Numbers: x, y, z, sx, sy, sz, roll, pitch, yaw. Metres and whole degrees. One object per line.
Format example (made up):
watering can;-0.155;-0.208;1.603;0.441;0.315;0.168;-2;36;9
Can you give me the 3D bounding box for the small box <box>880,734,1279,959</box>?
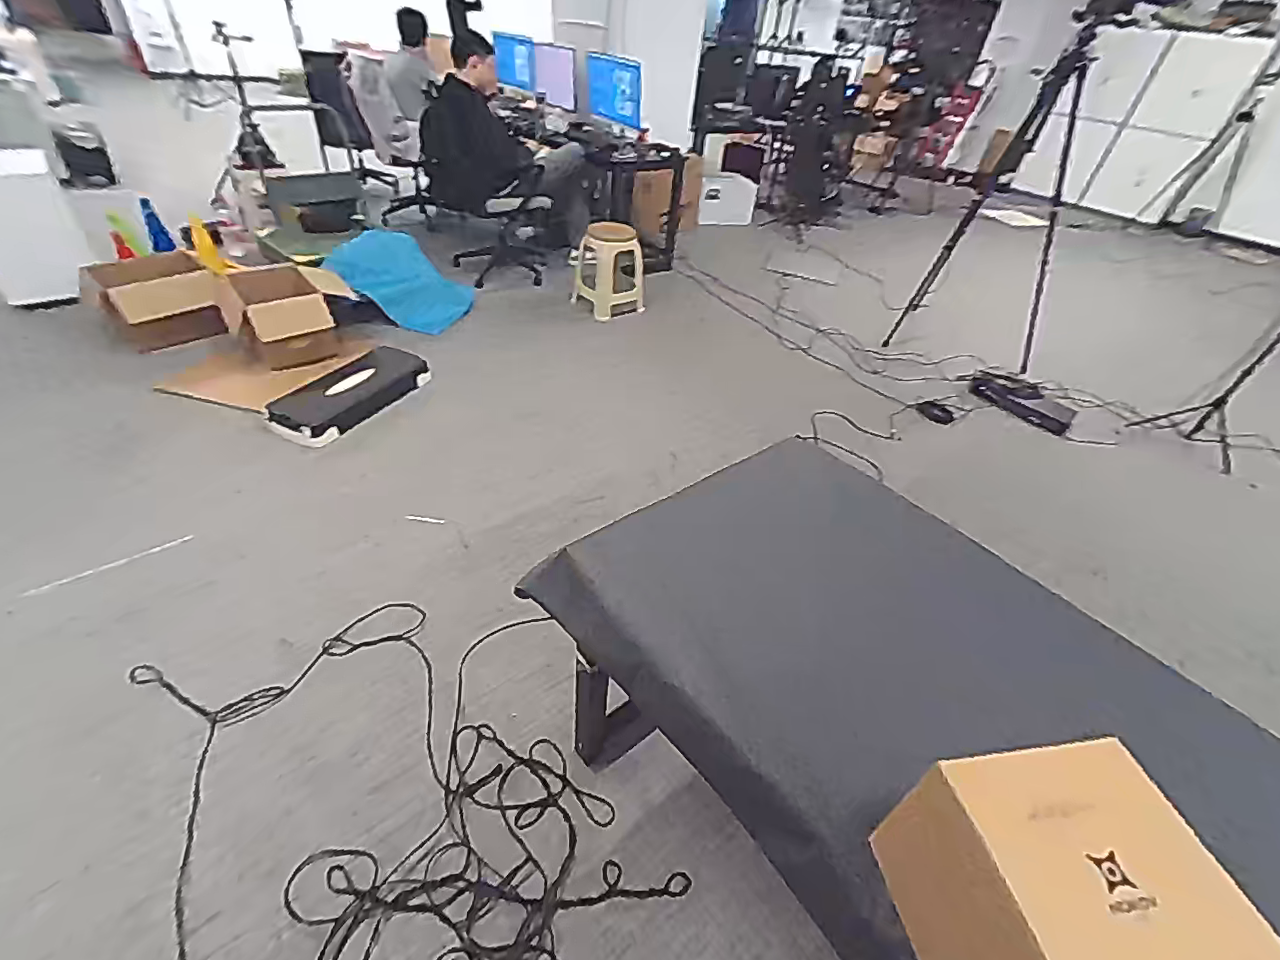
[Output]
small box;0.324;0.330;0.421;0.168;0.176;0.179;-2;39;-10
